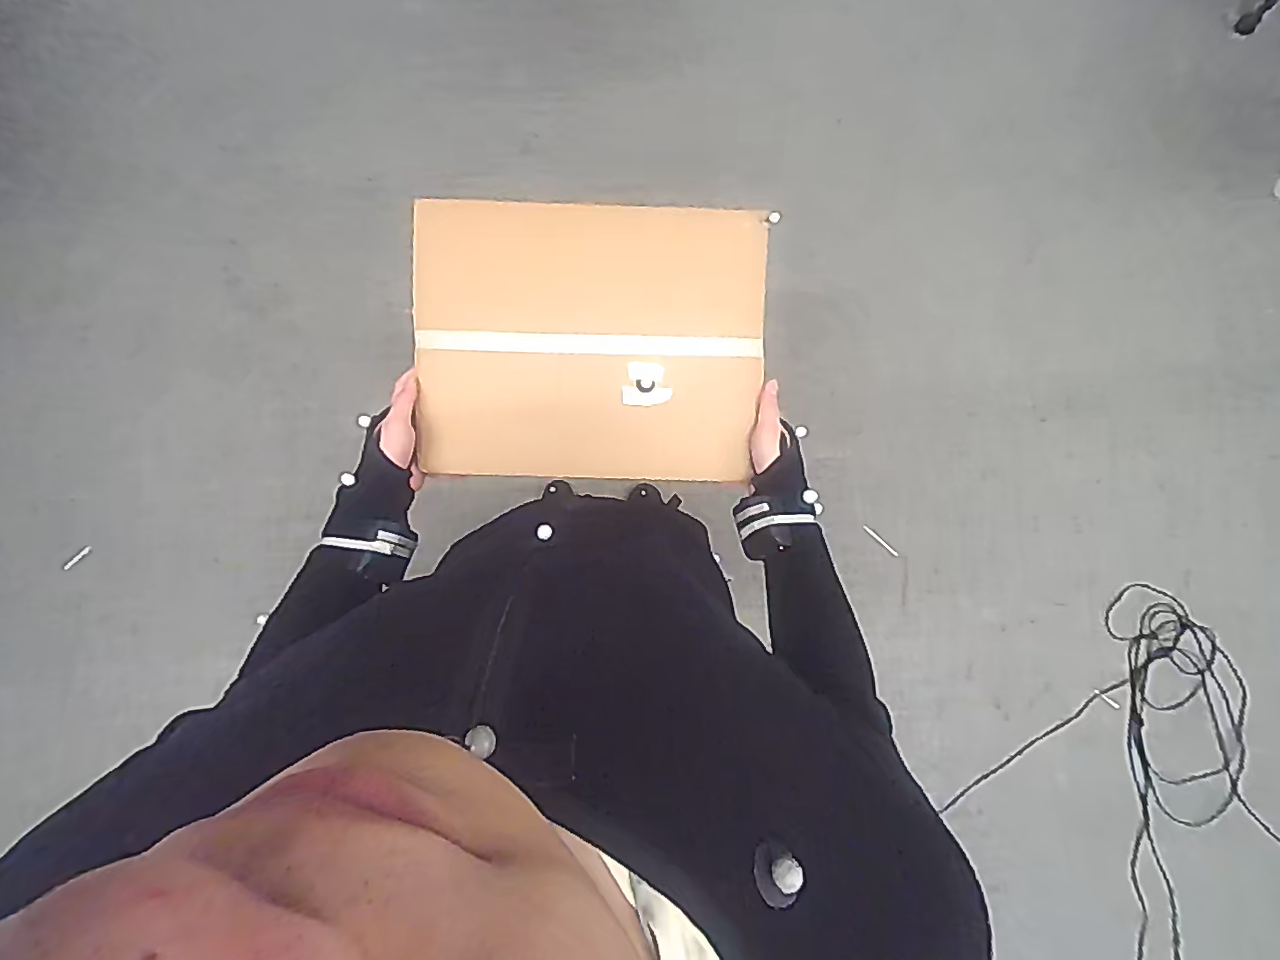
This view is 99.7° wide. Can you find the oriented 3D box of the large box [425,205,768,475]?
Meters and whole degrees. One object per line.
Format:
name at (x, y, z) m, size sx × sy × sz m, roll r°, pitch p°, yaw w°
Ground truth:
large box at (-0.055, -0.174, 0.785) m, size 0.408 × 0.320 × 0.320 m, roll 1°, pitch 96°, yaw -1°
